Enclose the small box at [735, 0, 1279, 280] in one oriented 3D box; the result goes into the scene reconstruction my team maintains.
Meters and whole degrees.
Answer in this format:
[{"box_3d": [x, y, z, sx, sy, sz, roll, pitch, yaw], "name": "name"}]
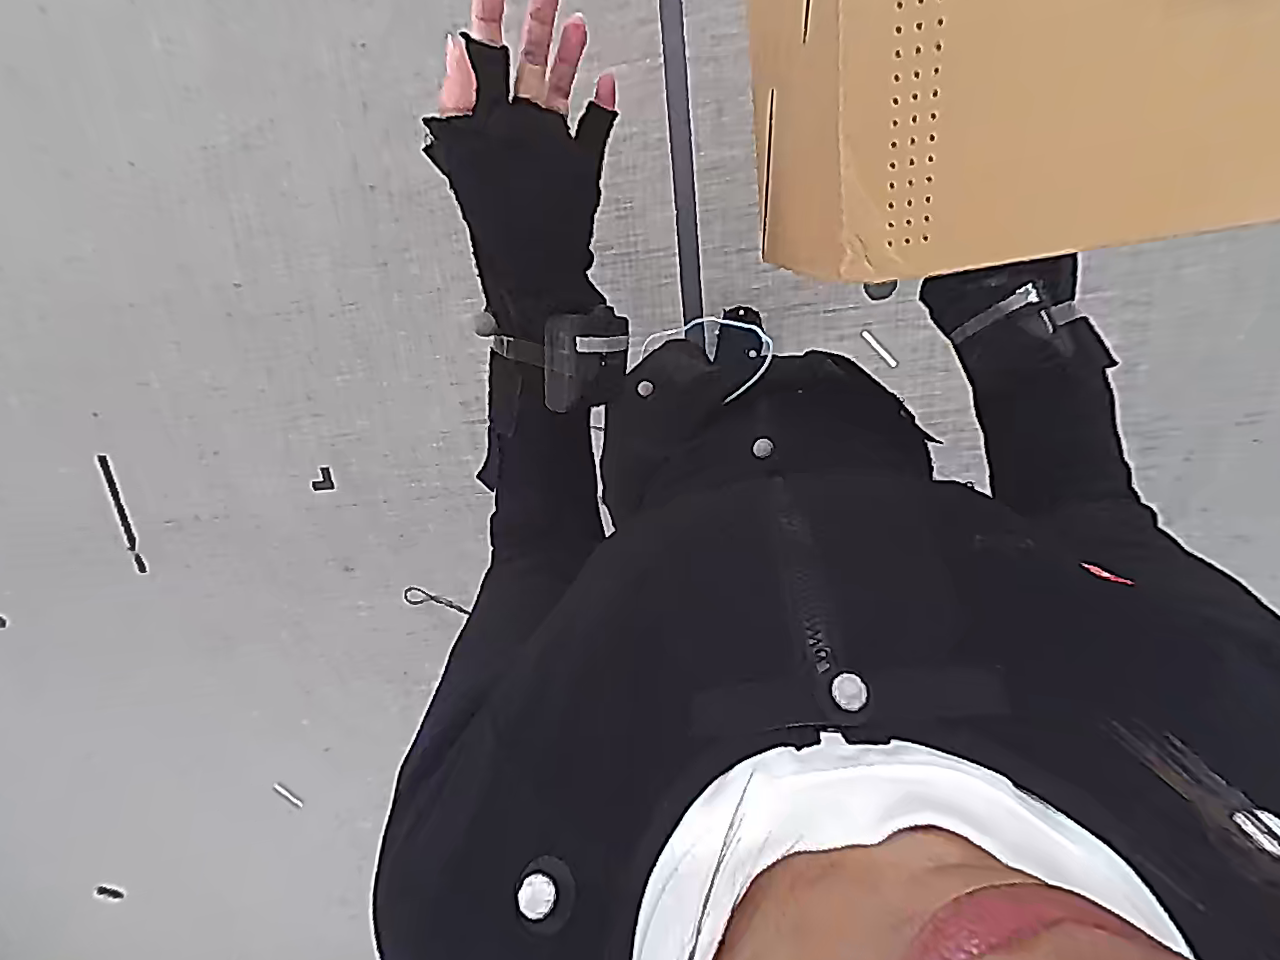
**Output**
[{"box_3d": [0.138, -0.202, 0.247, 0.176, 0.168, 0.179, -7, 115, 6], "name": "small box"}]
